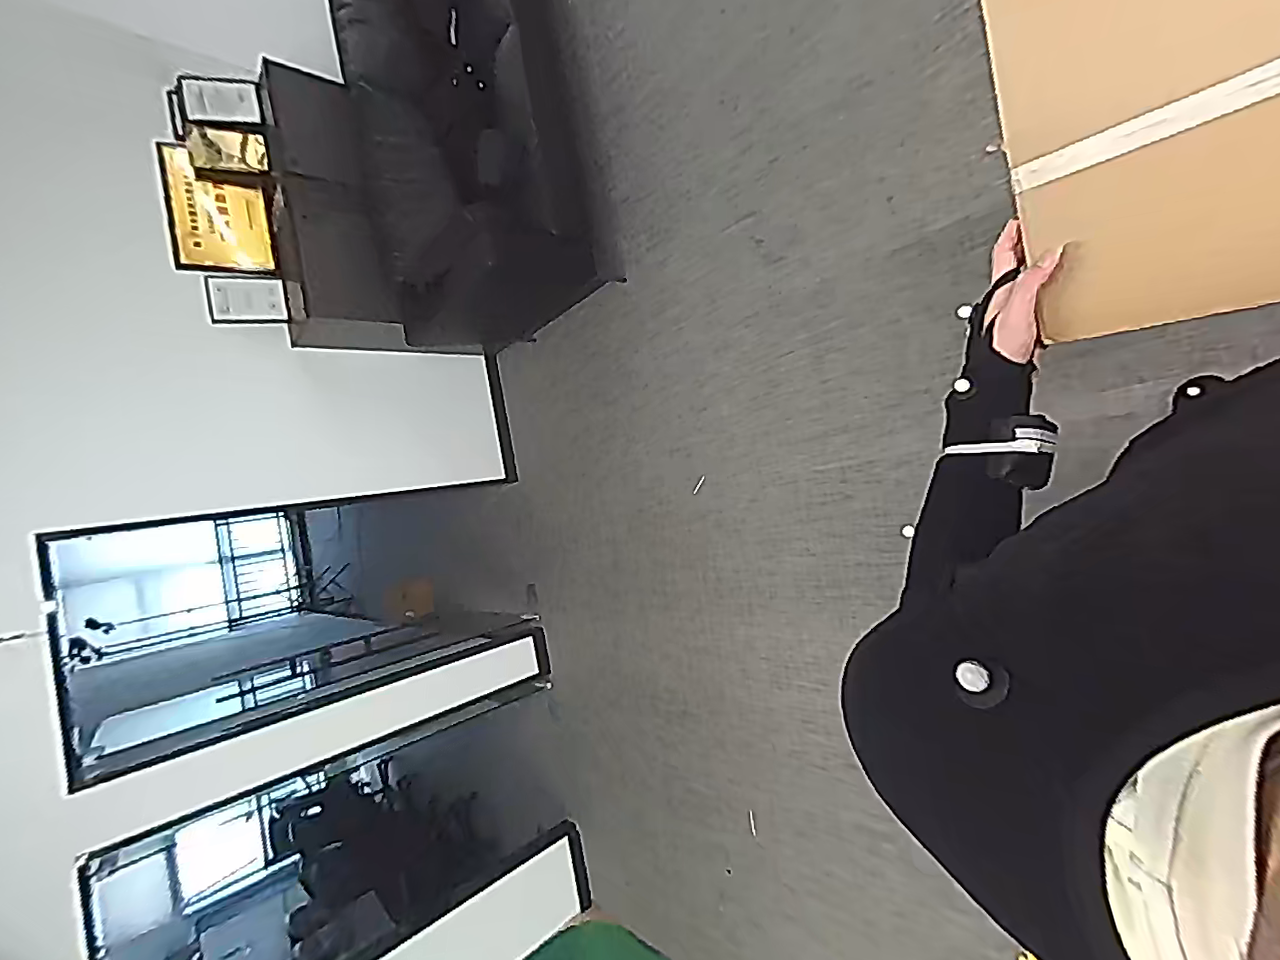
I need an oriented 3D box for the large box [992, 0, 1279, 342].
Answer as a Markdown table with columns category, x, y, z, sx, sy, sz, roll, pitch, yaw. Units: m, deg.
| category | x | y | z | sx | sy | sz | roll | pitch | yaw |
| --- | --- | --- | --- | --- | --- | --- | --- | --- | --- |
| large box | 0.578 | -0.344 | 0.433 | 0.408 | 0.320 | 0.320 | -6 | 110 | 49 |
